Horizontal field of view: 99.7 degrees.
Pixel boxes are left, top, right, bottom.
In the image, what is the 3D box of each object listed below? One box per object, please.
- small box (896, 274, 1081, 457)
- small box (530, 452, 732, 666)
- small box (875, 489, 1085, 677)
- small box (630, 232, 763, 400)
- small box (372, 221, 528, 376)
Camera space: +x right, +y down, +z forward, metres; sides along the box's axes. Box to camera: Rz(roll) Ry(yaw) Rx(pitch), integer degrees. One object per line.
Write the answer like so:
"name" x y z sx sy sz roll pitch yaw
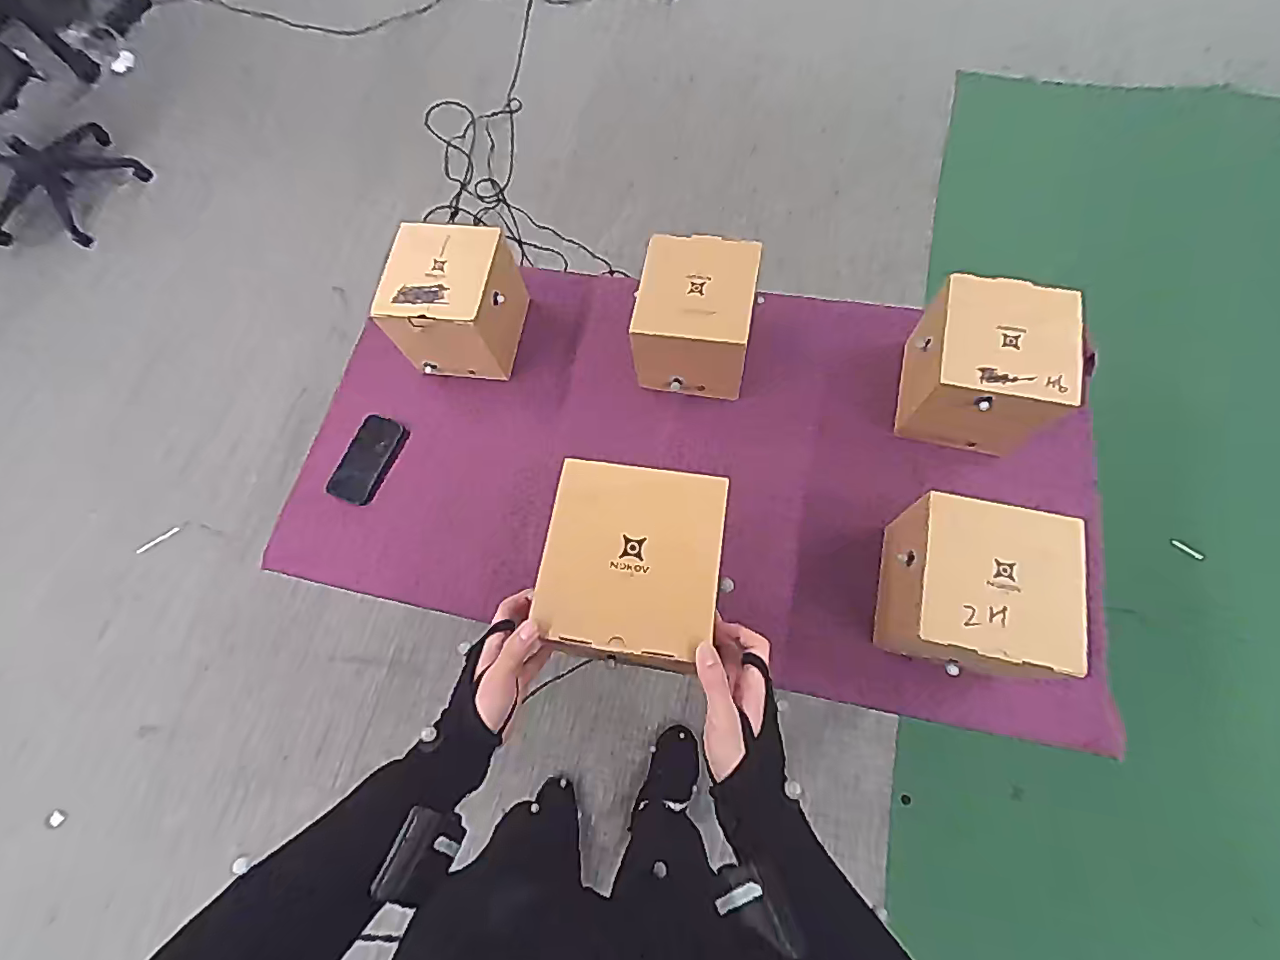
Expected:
"small box" 0.483 -0.156 0.770 0.168 0.176 0.179 13 71 10
"small box" -0.003 0.092 0.576 0.168 0.176 0.179 8 69 6
"small box" 0.404 0.133 0.667 0.168 0.176 0.179 12 72 11
"small box" 0.088 -0.248 0.839 0.168 0.176 0.179 9 72 9
"small box" -0.296 -0.289 0.885 0.168 0.176 0.179 7 70 7
